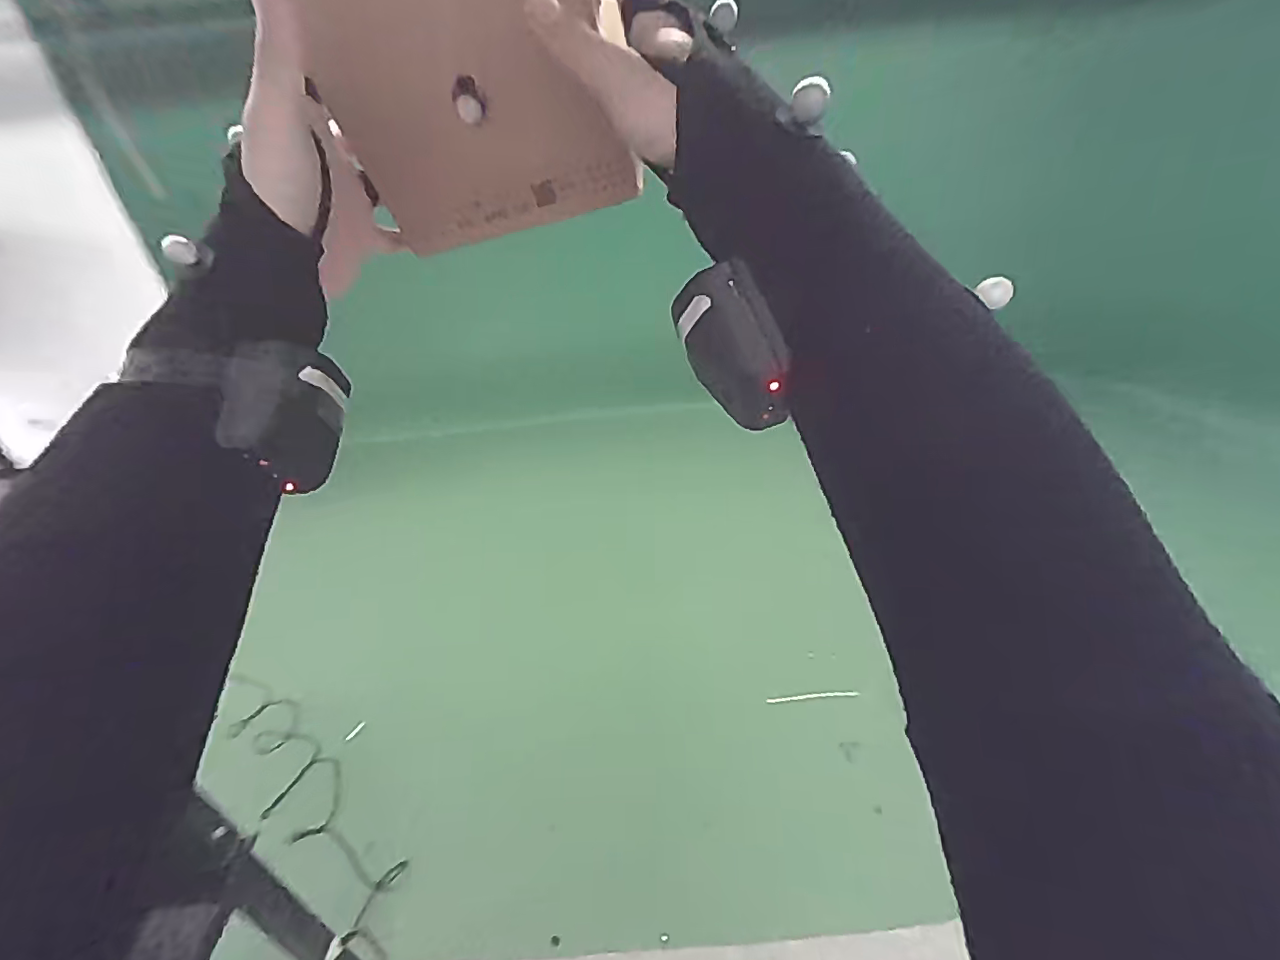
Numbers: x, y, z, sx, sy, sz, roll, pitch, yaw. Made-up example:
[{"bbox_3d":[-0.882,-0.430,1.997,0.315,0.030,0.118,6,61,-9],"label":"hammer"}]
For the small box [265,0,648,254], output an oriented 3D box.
[{"bbox_3d":[-0.093,-0.276,0.367,0.168,0.176,0.179,-10,50,11],"label":"small box"}]
